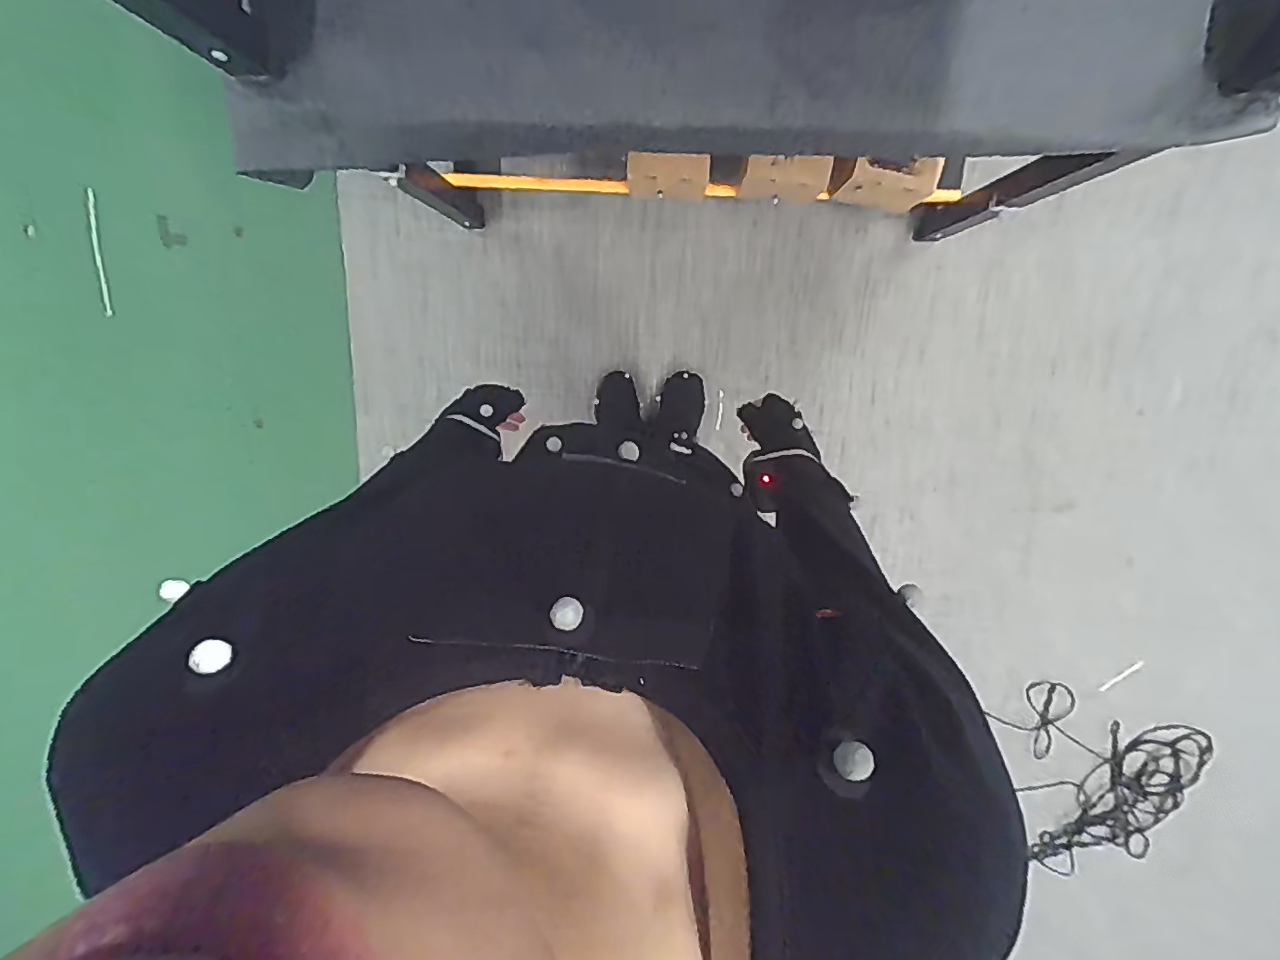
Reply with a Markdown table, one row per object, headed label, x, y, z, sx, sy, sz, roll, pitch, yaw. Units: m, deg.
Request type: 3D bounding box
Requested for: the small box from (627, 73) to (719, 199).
| label | x | y | z | sx | sy | sz | roll | pitch | yaw |
| --- | --- | --- | --- | --- | --- | --- | --- | --- | --- |
| small box | 0.064 | -0.705 | 1.125 | 0.168 | 0.176 | 0.179 | 5 | 106 | 1 |
